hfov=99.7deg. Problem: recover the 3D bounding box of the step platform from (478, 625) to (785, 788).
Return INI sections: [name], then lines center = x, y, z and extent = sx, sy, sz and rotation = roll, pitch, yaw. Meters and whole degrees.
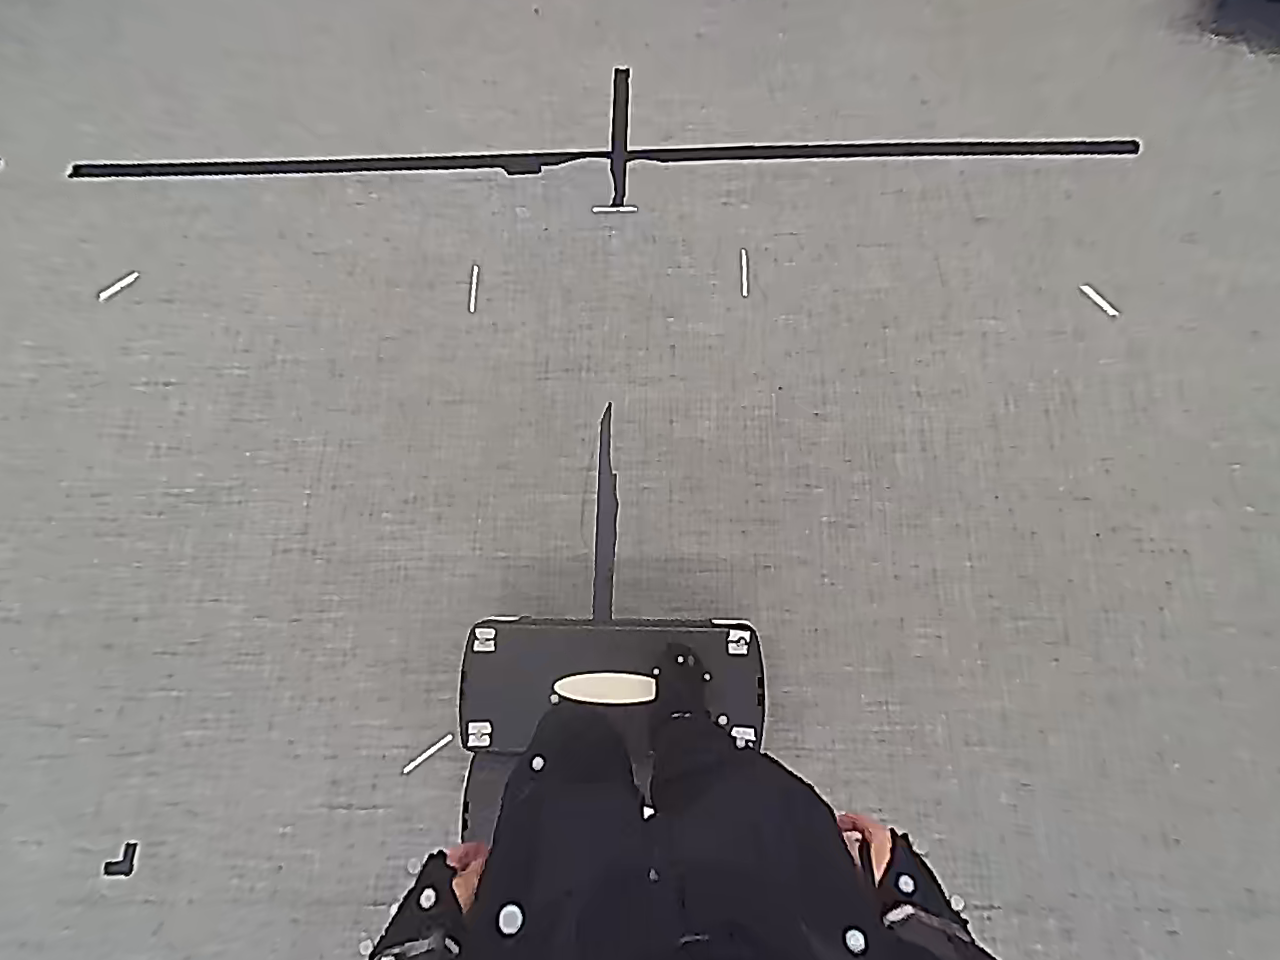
[step platform]
center = -0.018, 0.508, 1.247
extent = 0.684, 0.204, 0.286
rotation = 4, 76, 2
